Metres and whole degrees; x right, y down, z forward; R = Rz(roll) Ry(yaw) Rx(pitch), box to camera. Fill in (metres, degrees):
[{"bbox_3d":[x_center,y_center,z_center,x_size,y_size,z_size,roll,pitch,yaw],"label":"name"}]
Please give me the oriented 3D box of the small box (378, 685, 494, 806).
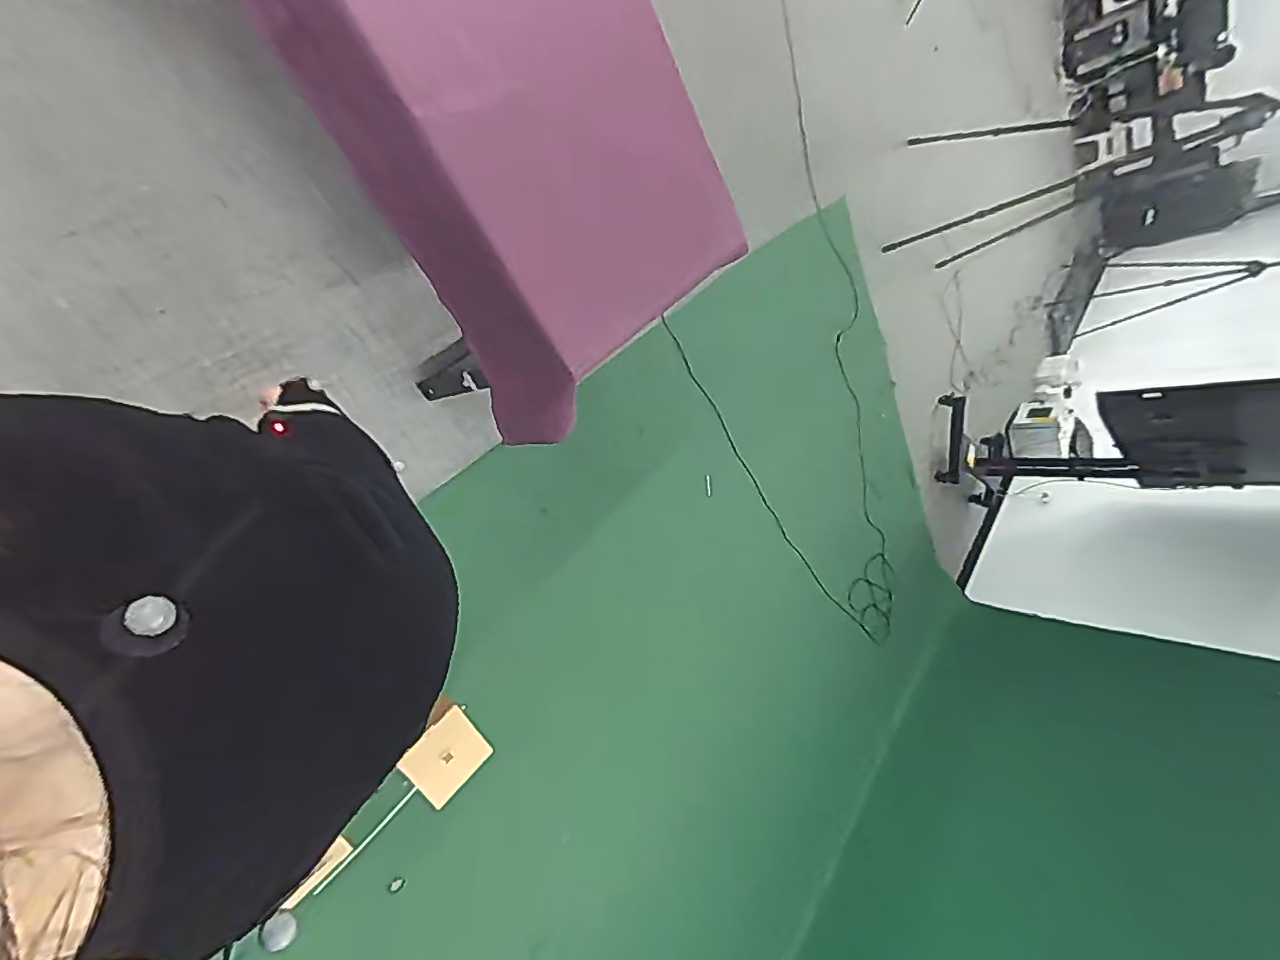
[{"bbox_3d":[-0.493,0.629,1.303,0.168,0.176,0.179,-42,117,-32],"label":"small box"}]
